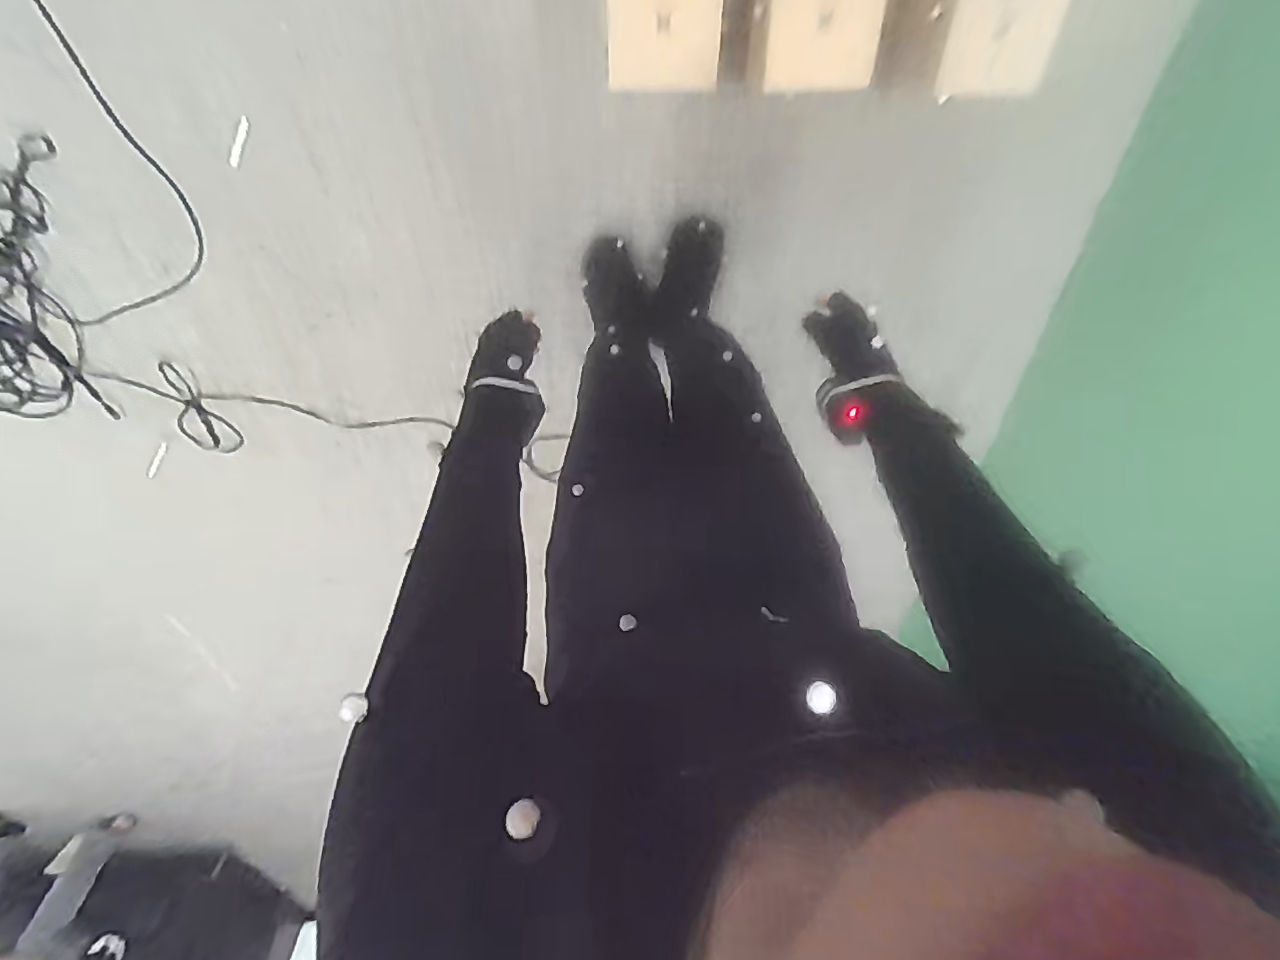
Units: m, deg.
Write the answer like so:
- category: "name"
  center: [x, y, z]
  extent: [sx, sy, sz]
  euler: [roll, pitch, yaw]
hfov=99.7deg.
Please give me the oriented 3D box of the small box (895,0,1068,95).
- category: "small box"
  center: [0.530, -0.718, 0.850]
  extent: [0.168, 0.176, 0.179]
  euler: [-2, 129, -1]

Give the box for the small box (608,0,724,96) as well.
- category: "small box"
  center: [0.035, -0.708, 0.835]
  extent: [0.168, 0.176, 0.179]
  euler: [-1, 128, -2]

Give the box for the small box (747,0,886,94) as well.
- category: "small box"
  center: [0.266, -0.715, 0.841]
  extent: [0.168, 0.176, 0.179]
  euler: [-3, 128, -1]
